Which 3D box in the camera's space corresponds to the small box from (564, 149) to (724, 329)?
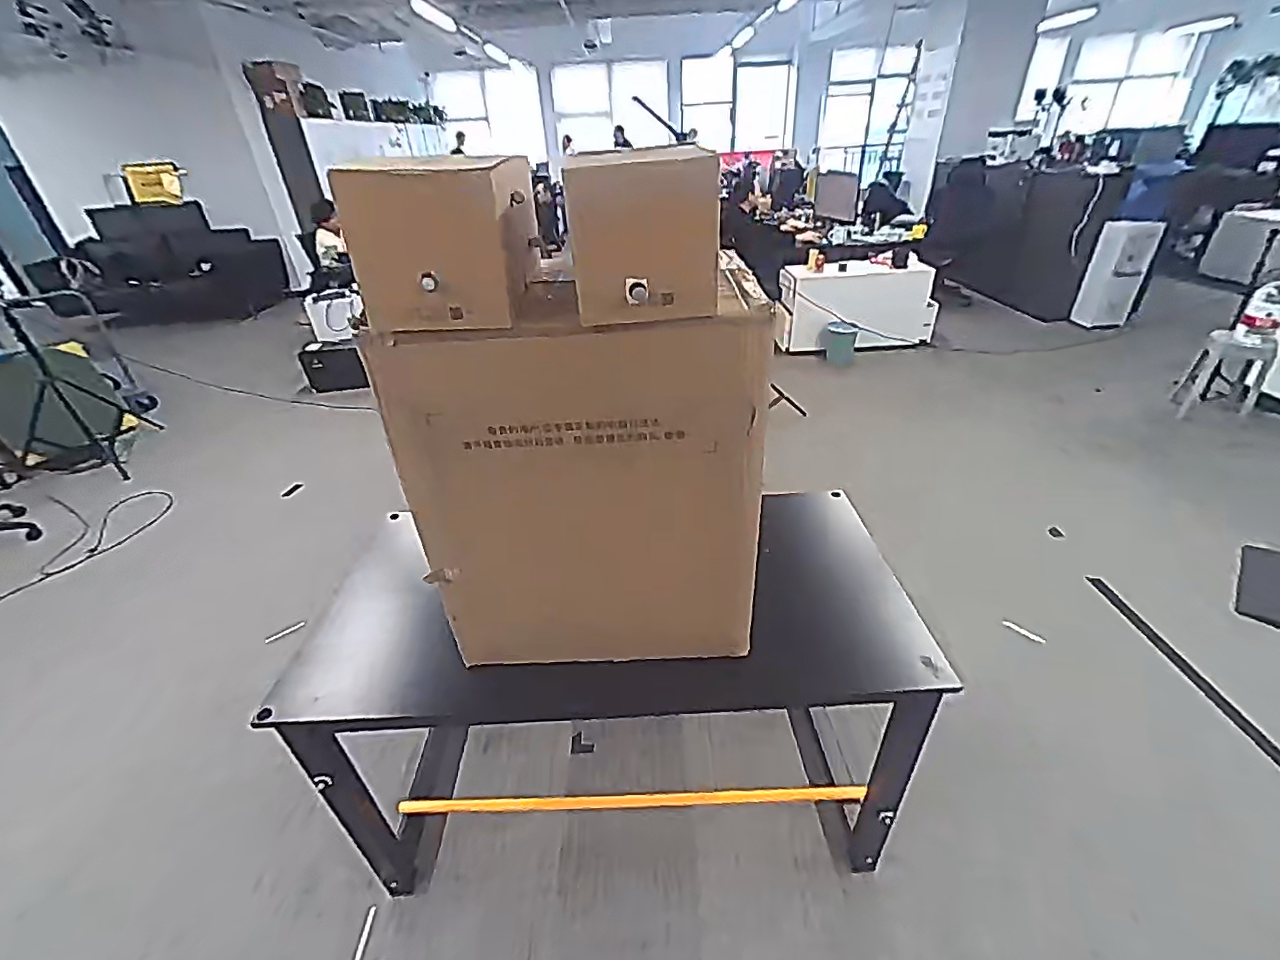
[{"bbox_3d":[0.003,-0.296,0.660,0.168,0.176,0.179,-7,35,-2],"label":"small box"}]
